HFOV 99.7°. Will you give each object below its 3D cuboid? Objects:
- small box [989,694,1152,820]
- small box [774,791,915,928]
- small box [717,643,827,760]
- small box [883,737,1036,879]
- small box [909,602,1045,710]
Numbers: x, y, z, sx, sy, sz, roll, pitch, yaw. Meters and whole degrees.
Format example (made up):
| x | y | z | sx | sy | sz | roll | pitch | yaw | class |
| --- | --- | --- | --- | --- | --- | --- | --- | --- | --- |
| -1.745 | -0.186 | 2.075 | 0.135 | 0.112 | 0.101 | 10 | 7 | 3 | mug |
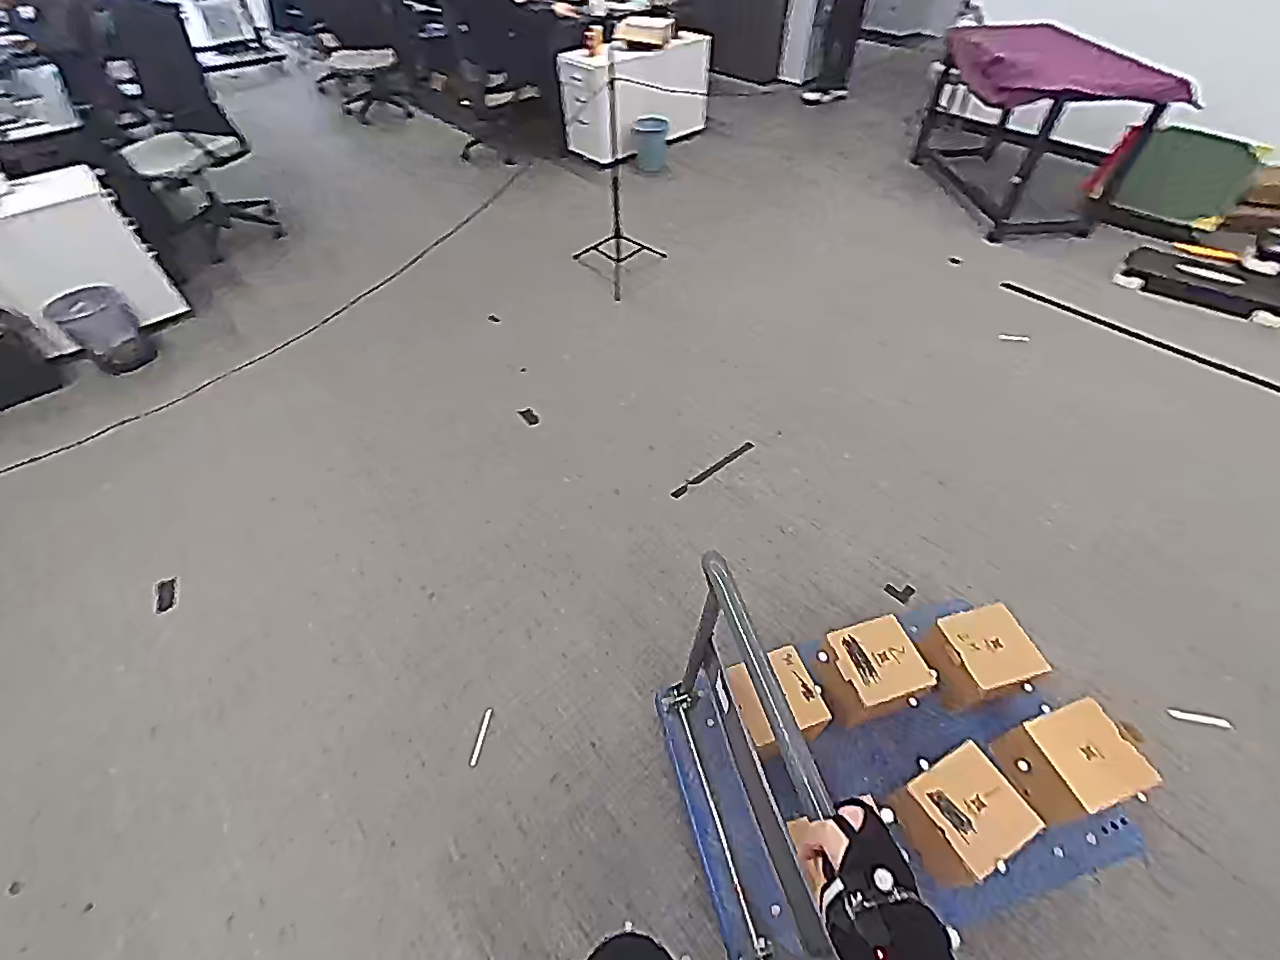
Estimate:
| x | y | z | sx | sy | sz | roll | pitch | yaw | class |
| --- | --- | --- | --- | --- | --- | --- | --- | --- | --- |
| 0.865 | 0.574 | 1.115 | 0.179 | 0.176 | 0.168 | -15 | 51 | -11 | small box |
| 0.363 | 0.710 | 1.008 | 0.179 | 0.176 | 0.168 | -12 | 51 | -10 | small box |
| 0.278 | 0.491 | 1.191 | 0.179 | 0.176 | 0.168 | -15 | 52 | -11 | small box |
| 0.607 | 0.644 | 1.058 | 0.179 | 0.176 | 0.168 | -22 | 53 | -18 | small box |
| 0.767 | 0.410 | 1.252 | 0.179 | 0.176 | 0.168 | -12 | 50 | -8 | small box |
